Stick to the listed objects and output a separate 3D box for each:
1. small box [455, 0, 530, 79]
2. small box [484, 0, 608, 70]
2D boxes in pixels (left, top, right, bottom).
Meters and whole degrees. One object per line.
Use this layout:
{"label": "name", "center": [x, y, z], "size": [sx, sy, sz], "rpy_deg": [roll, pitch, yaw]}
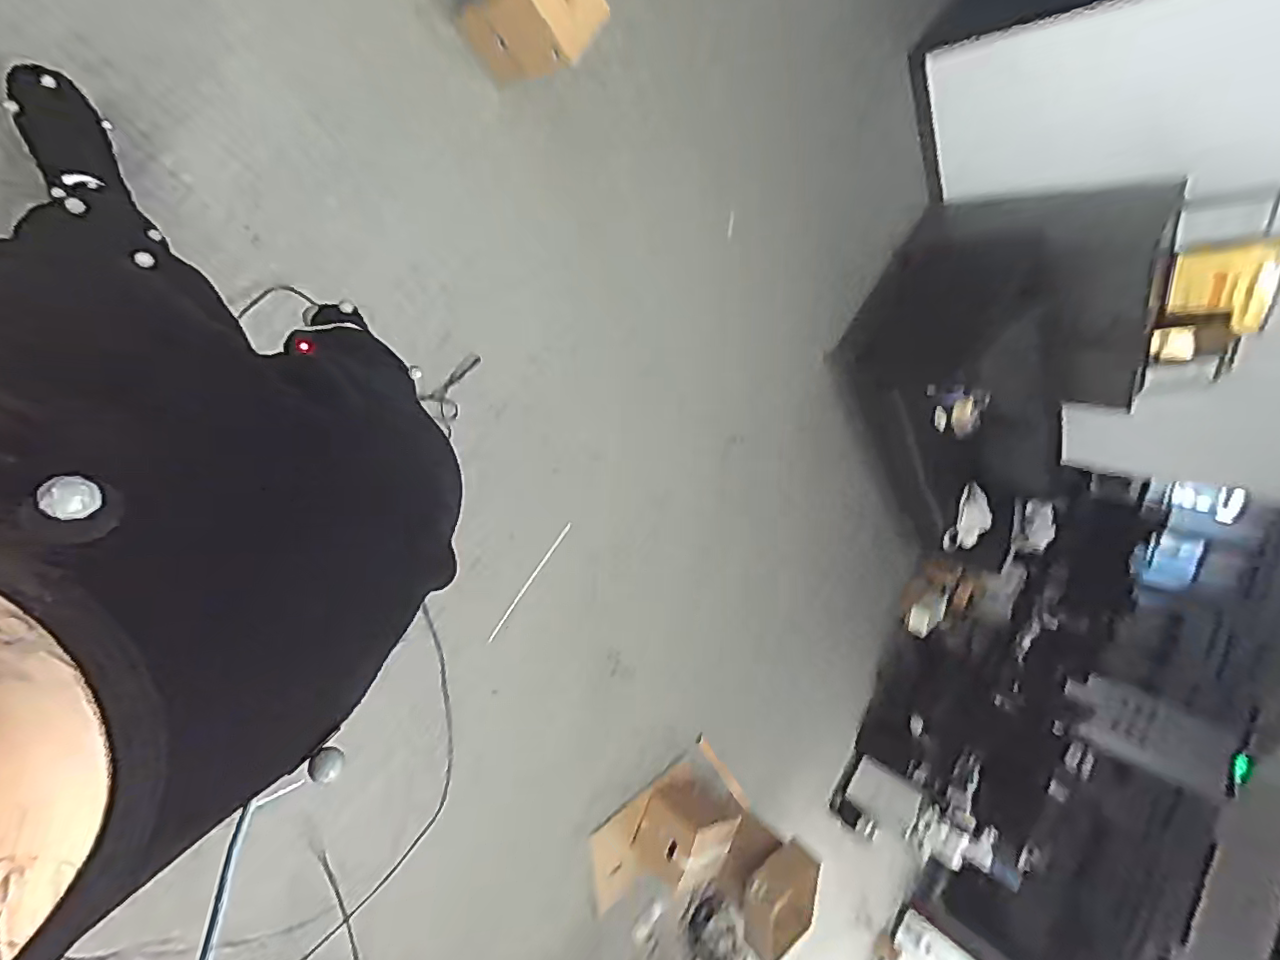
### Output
{"label": "small box", "center": [-0.313, -1.123, 1.311], "size": [0.168, 0.176, 0.179], "rpy_deg": [-57, 135, -10]}
{"label": "small box", "center": [-0.212, -1.064, 1.197], "size": [0.179, 0.176, 0.168], "rpy_deg": [36, 81, -46]}
